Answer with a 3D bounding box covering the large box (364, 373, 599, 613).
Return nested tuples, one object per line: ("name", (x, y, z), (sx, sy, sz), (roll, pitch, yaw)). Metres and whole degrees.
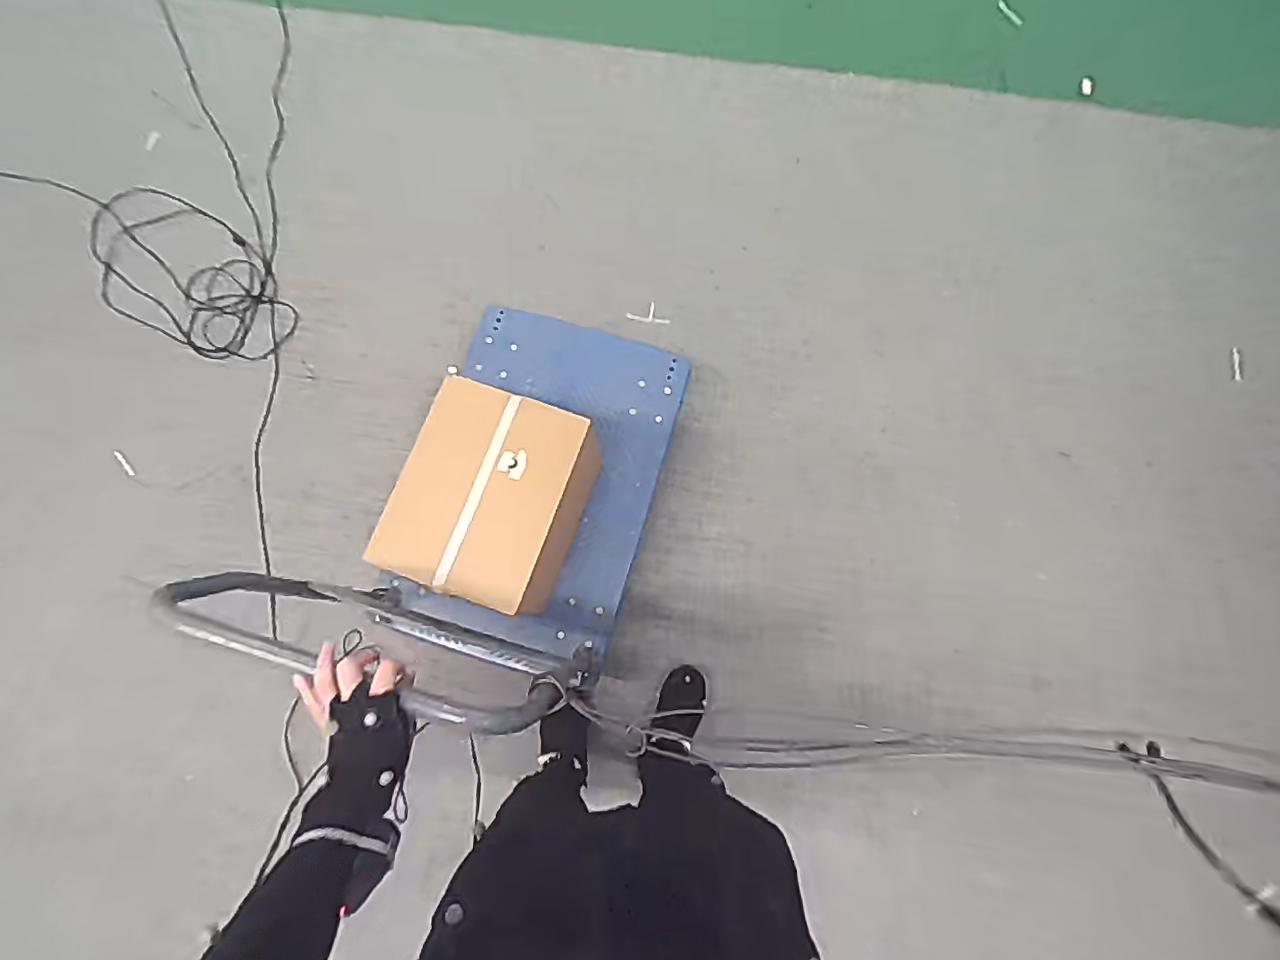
("large box", (-0.307, 0.048, 1.173), (0.320, 0.320, 0.408), (19, 78, 4))
